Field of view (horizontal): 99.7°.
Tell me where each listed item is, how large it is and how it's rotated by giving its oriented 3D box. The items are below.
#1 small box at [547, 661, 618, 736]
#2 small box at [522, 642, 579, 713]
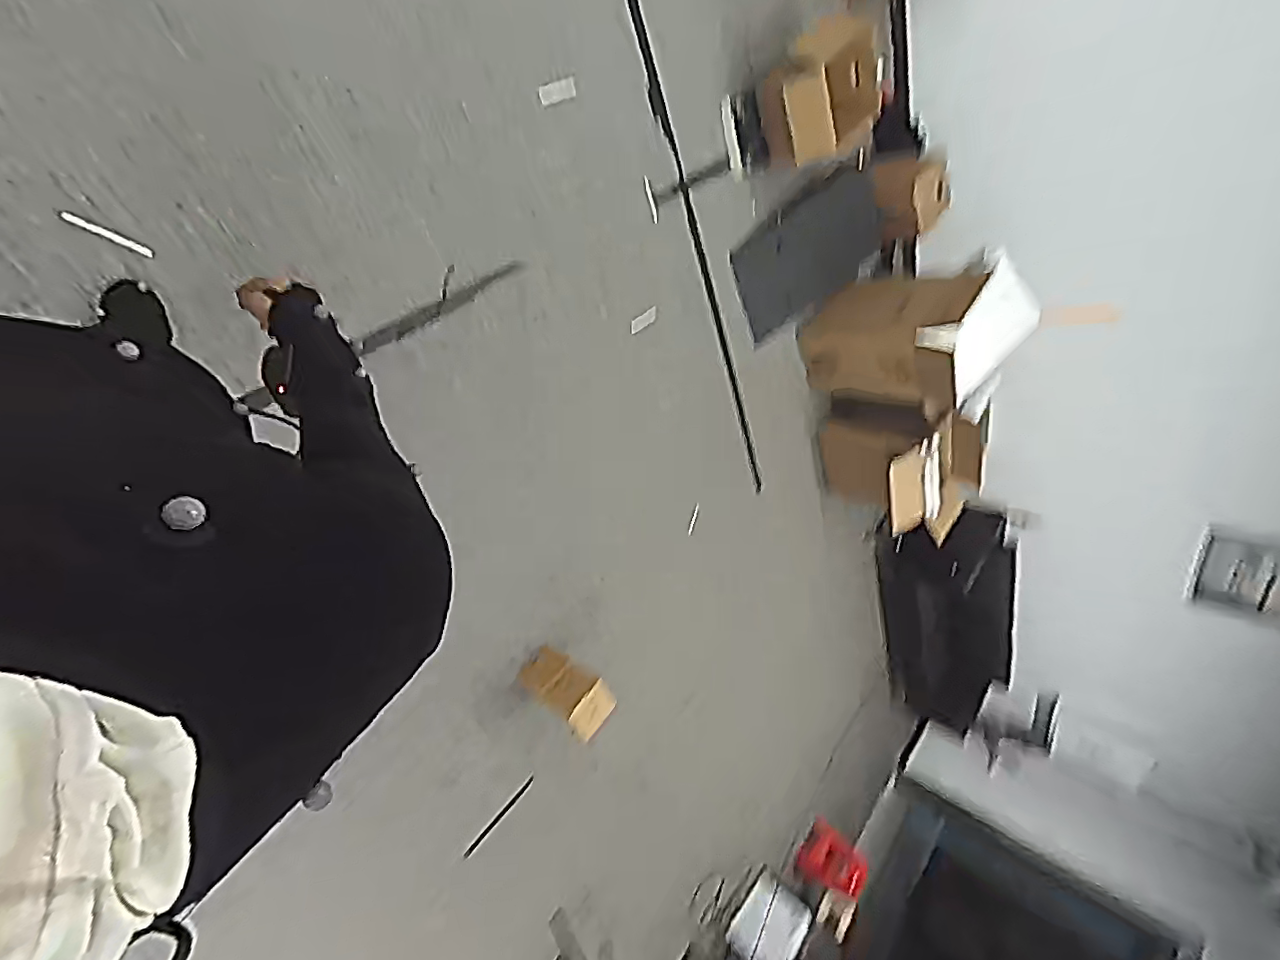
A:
[{"bbox_3d":[-0.216,0.818,2.040,0.168,0.176,0.179,-44,128,-29],"label":"small box"},{"bbox_3d":[-0.333,0.779,2.149,0.168,0.176,0.179,-44,129,-29],"label":"small box"}]
